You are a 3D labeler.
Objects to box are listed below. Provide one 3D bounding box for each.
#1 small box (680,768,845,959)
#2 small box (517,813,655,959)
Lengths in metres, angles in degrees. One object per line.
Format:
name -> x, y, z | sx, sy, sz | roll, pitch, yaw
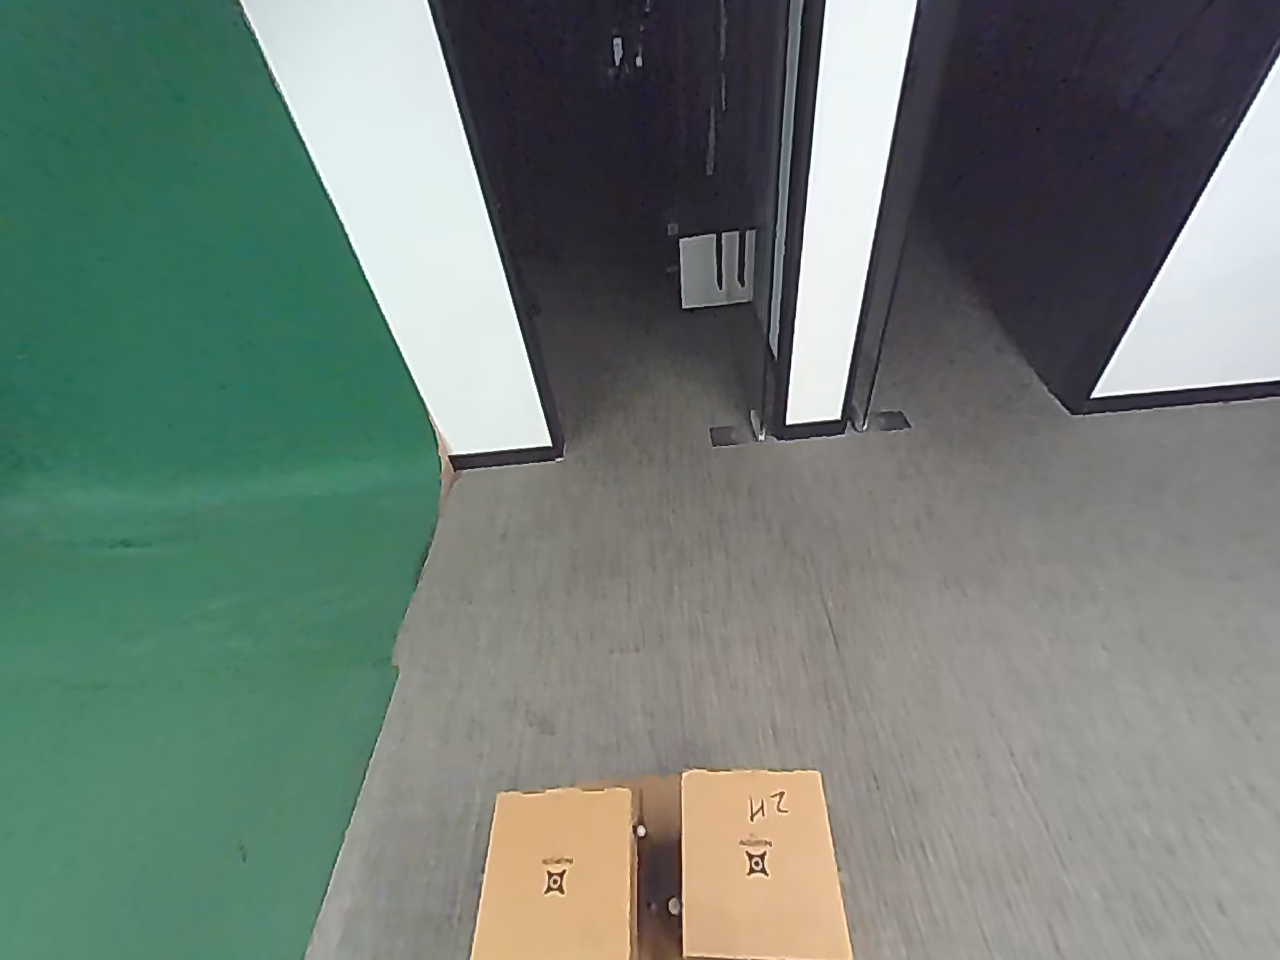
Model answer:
small box -> 0.139, 0.469, 0.652 | 0.168, 0.176, 0.179 | -2, 45, 8
small box -> -0.067, 0.606, 0.786 | 0.168, 0.176, 0.179 | -4, 46, 4
